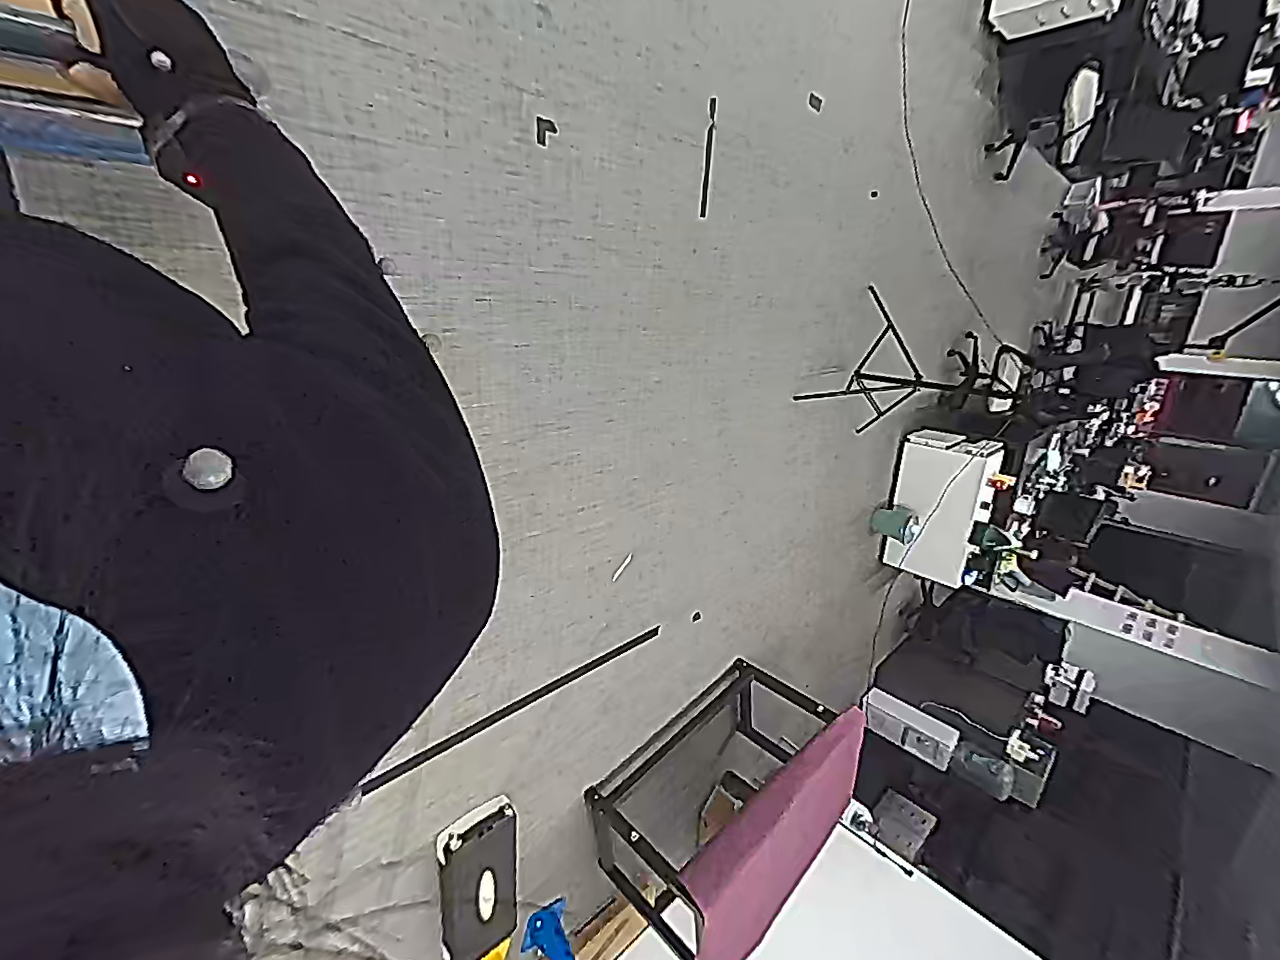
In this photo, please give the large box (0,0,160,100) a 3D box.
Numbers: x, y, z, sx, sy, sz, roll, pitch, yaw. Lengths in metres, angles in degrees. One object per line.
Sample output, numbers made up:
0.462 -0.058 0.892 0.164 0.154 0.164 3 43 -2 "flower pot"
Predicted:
-0.878 -0.690 0.629 0.408 0.320 0.320 -19 119 -41 "large box"
